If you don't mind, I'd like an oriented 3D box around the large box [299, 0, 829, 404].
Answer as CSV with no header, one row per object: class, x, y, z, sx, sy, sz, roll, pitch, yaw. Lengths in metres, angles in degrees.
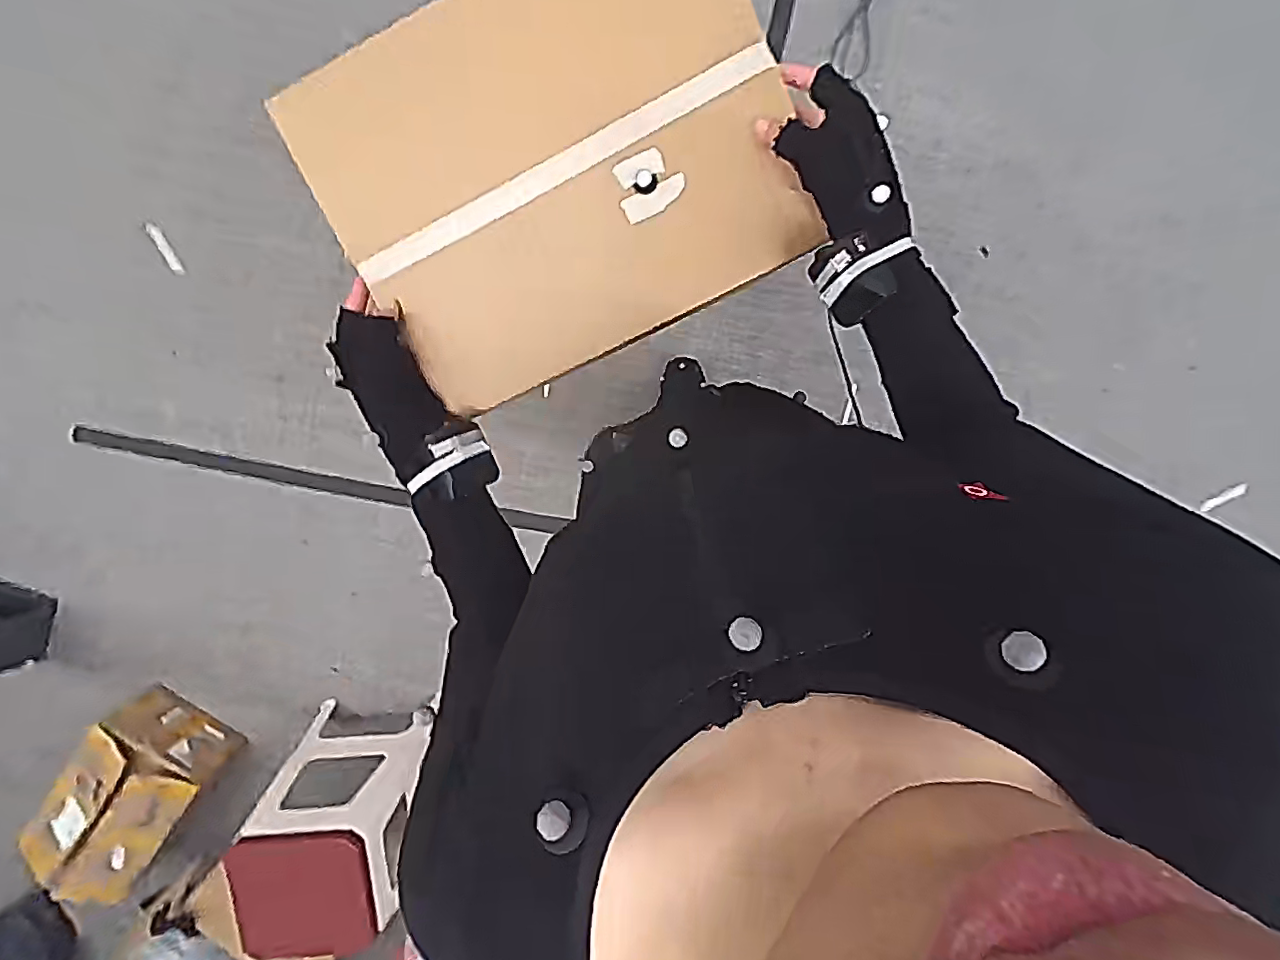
large box,-0.064,-0.320,0.633,0.408,0.320,0.320,-23,103,6
